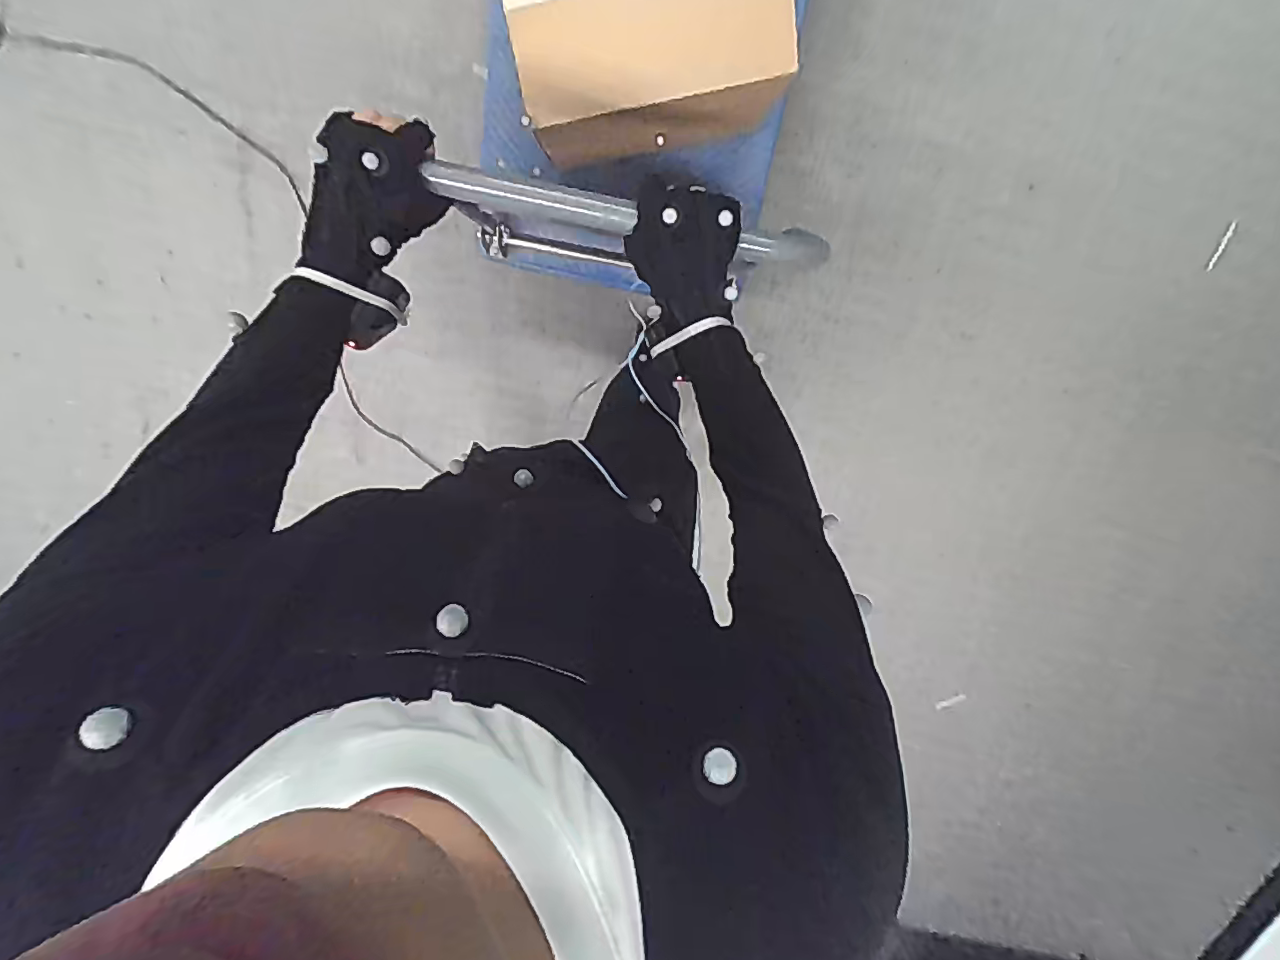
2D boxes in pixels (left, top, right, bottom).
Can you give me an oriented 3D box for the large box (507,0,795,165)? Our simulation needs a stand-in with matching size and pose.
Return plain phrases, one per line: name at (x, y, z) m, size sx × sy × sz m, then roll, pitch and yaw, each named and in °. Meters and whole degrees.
large box at (0.008, -0.764, 0.900) m, size 0.408 × 0.320 × 0.320 m, roll -10°, pitch 109°, yaw 4°
